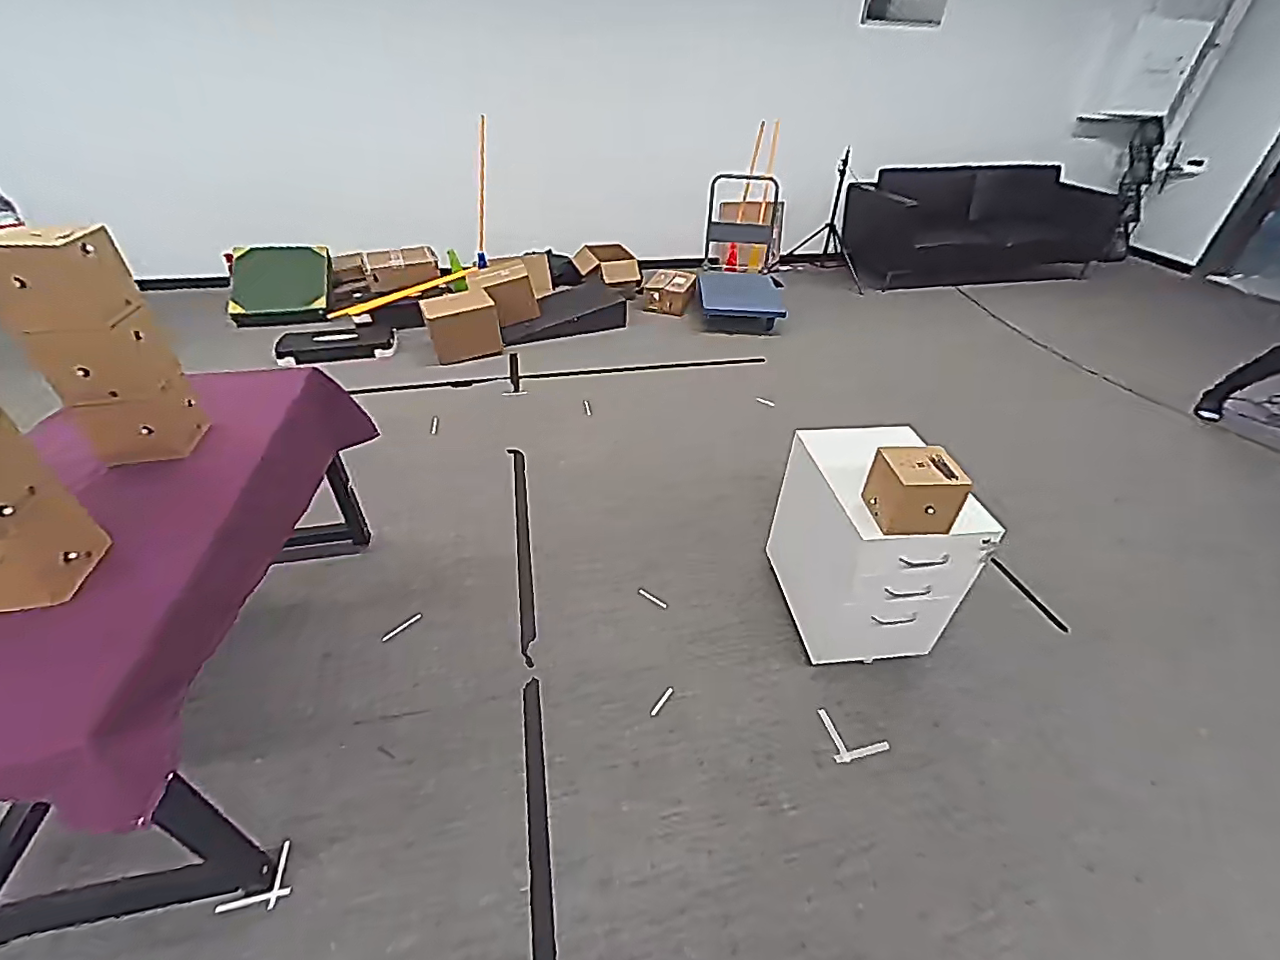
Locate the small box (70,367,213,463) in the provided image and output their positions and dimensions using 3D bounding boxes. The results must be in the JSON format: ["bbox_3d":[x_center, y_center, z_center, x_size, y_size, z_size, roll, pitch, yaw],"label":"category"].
[{"bbox_3d":[-1.201,-0.159,1.324,0.179,0.176,0.168,-6,39,-10],"label":"small box"}]

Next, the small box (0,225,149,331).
[{"bbox_3d":[-1.195,-0.419,1.124,0.179,0.176,0.168,-7,39,-10],"label":"small box"}]

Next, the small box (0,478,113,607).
[{"bbox_3d":[-1.134,0.118,0.977,0.179,0.176,0.168,-6,39,-11],"label":"small box"}]

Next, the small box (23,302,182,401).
[{"bbox_3d":[-1.193,-0.288,1.222,0.168,0.176,0.179,-6,38,-11],"label":"small box"}]
